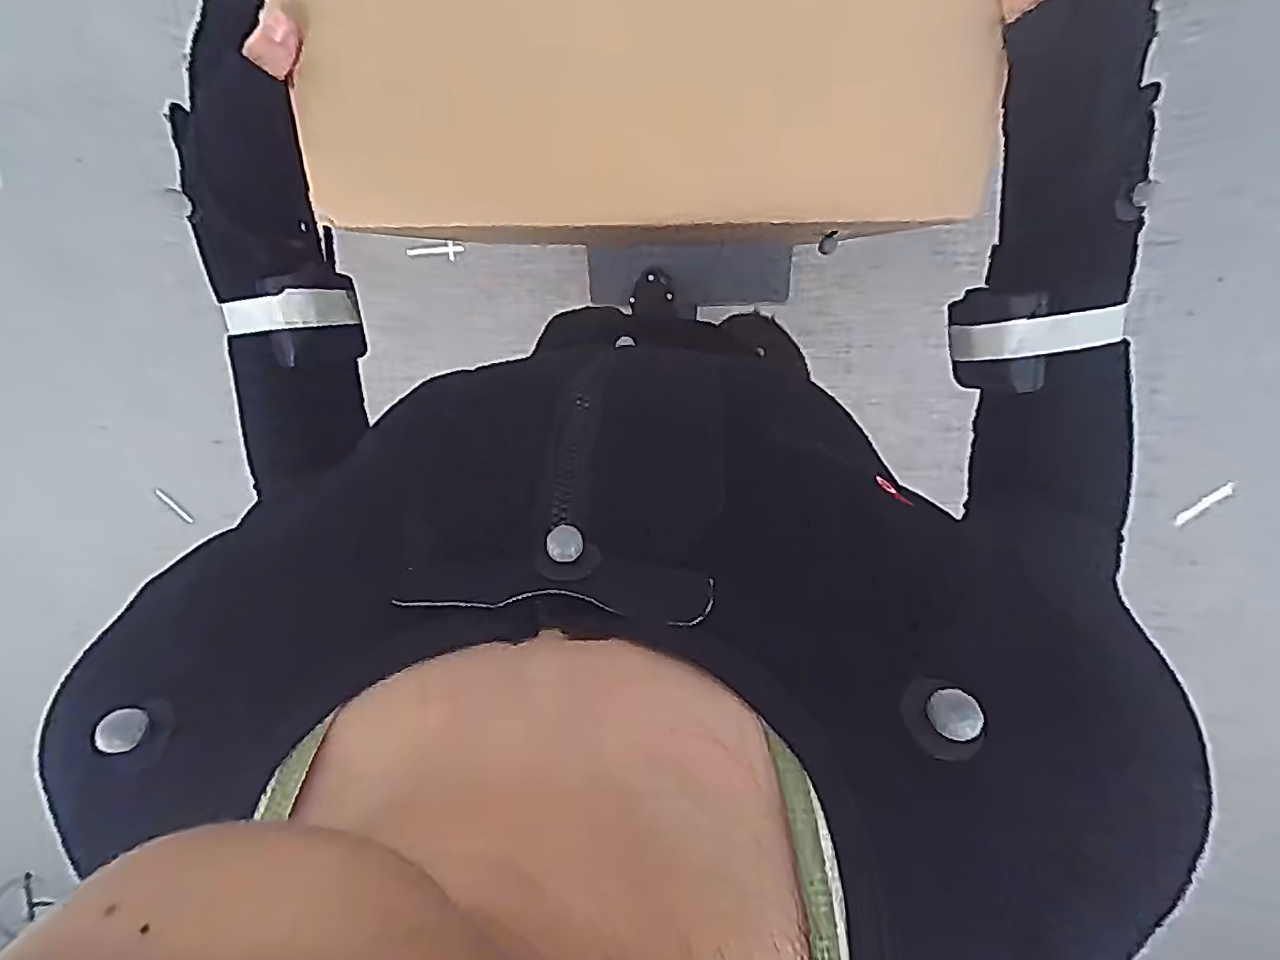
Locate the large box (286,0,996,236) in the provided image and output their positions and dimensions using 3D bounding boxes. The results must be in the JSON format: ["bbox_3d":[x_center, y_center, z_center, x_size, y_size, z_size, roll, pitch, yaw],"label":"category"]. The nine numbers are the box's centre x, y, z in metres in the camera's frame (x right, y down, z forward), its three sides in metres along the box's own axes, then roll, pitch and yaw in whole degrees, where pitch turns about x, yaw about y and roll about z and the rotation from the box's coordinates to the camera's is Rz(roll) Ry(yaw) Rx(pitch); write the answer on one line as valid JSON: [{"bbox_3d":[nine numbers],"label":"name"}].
[{"bbox_3d":[0.005,-0.365,0.422,0.408,0.320,0.320,1,111,3],"label":"large box"}]

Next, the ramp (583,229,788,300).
[{"bbox_3d":[0.089,-0.896,1.119,0.509,0.206,0.991,-2,109,5],"label":"ramp"}]
